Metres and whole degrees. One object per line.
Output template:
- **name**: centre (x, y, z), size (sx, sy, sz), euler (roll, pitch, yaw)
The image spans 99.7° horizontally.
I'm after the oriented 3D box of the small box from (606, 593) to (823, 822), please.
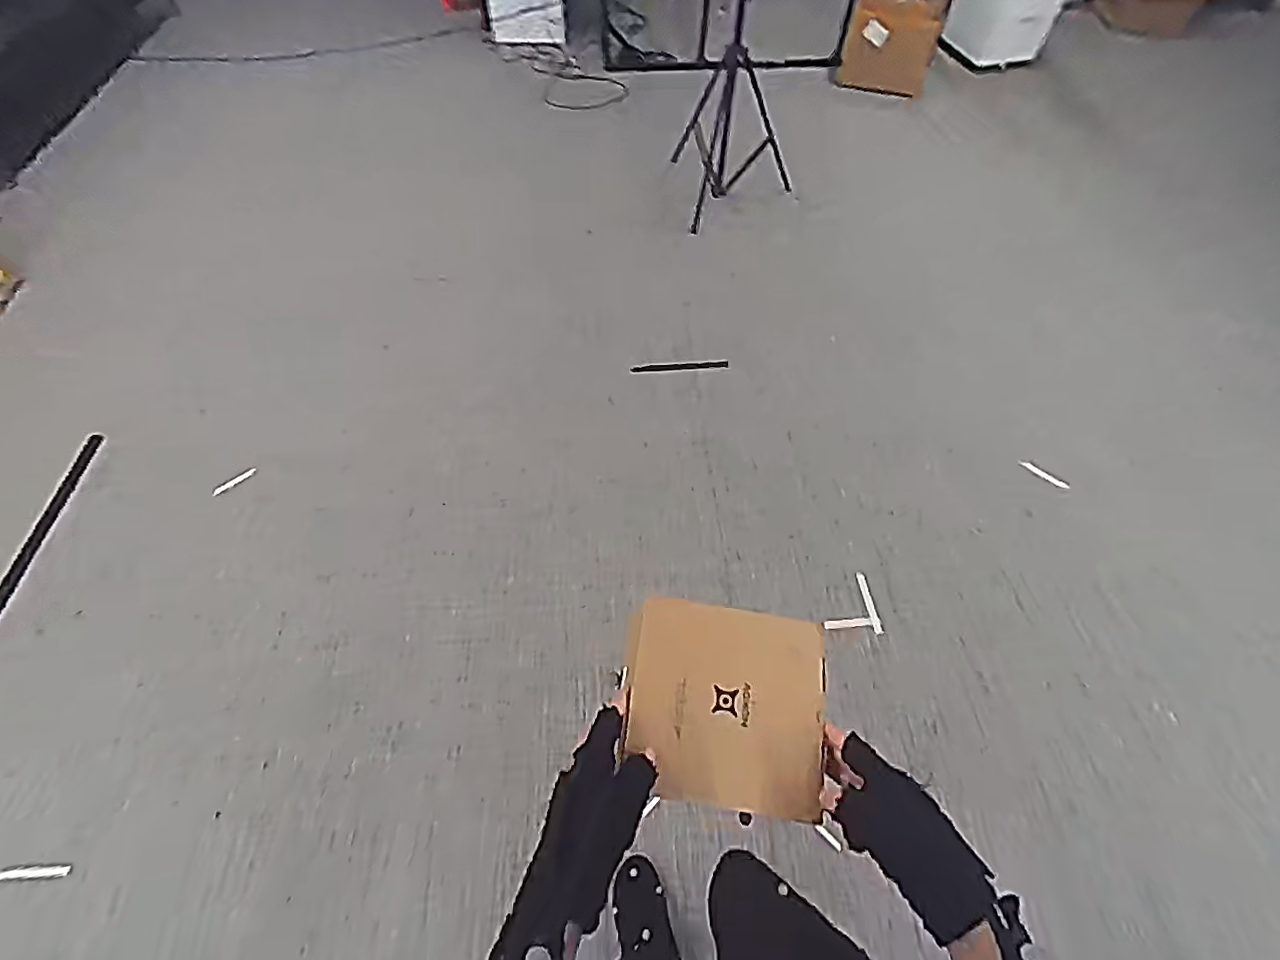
- **small box**: centre (0.067, 0.227, 0.549), size (0.179, 0.176, 0.168), euler (10, 64, -2)
